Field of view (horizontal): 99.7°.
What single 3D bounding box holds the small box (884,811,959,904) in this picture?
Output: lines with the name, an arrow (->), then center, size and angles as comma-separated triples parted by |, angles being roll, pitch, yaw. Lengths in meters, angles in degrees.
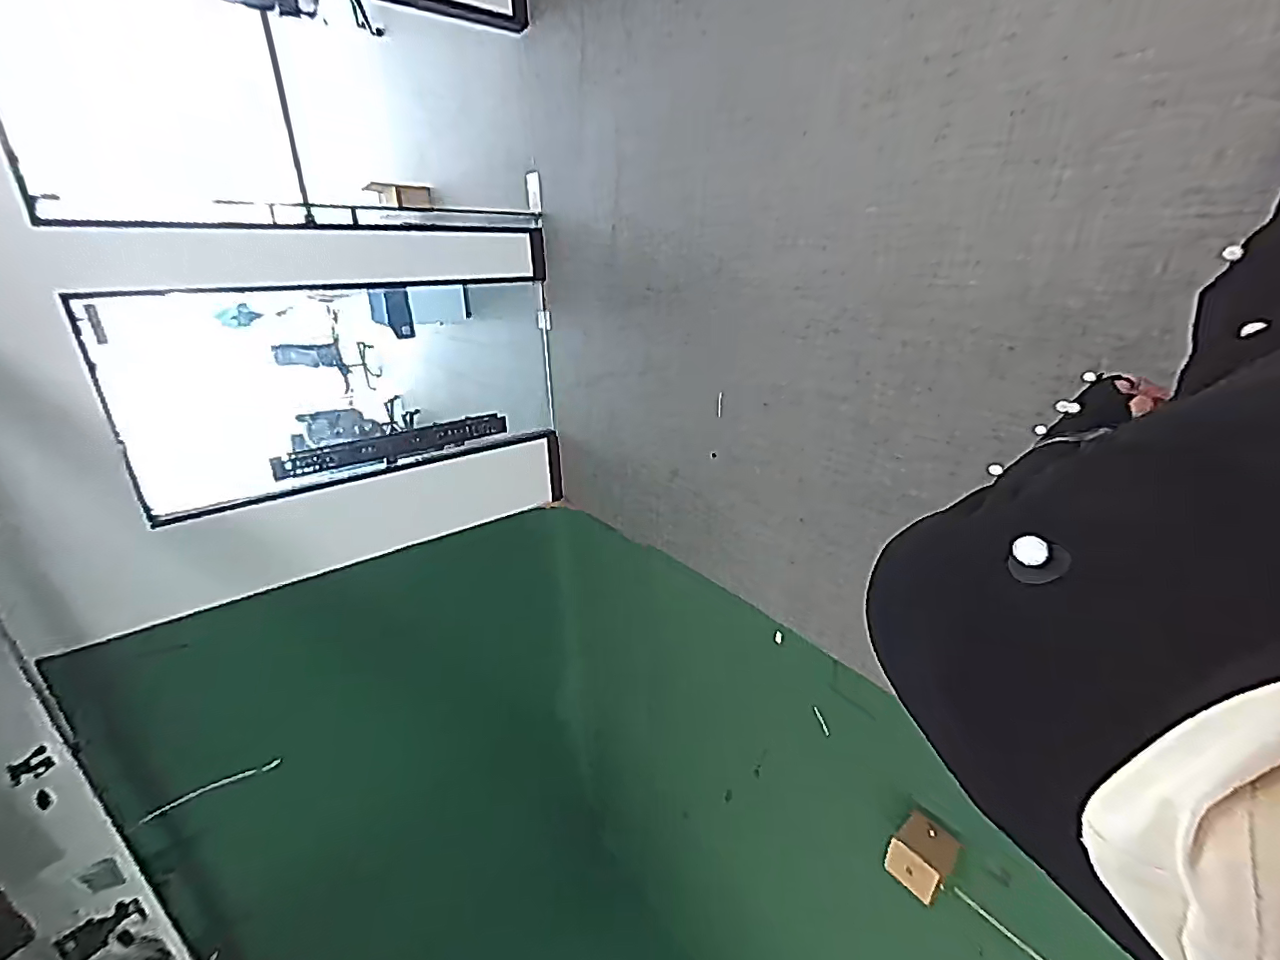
small box -> 1.005, 1.339, 1.926 | 0.168, 0.176, 0.179 | 28, 126, 46
